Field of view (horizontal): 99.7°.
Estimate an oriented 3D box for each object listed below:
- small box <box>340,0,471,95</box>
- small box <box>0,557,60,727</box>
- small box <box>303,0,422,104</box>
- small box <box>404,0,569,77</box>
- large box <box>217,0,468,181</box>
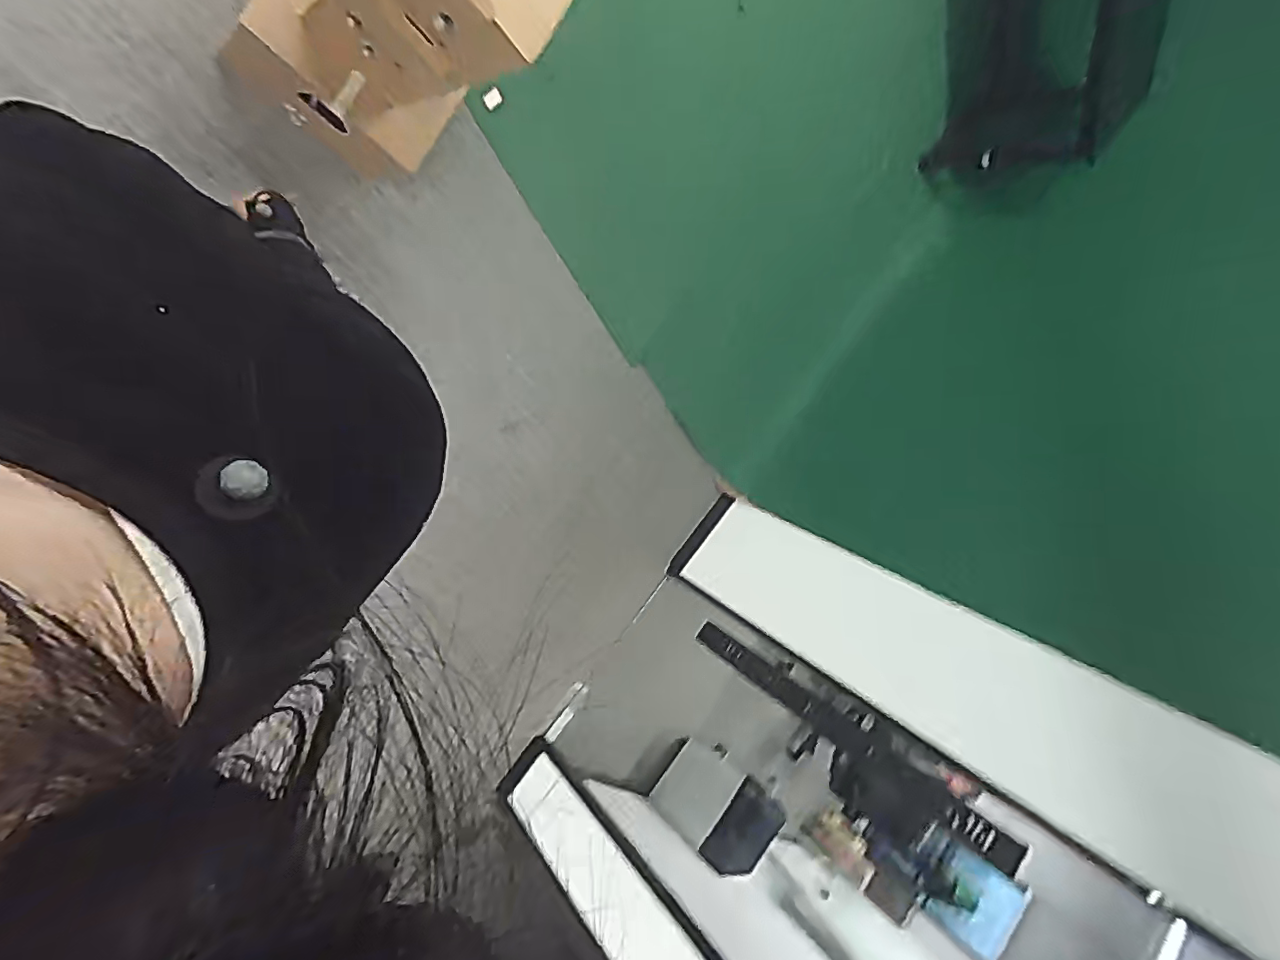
[{"bbox_3d":[-0.300,-0.690,0.765,0.168,0.176,0.179,32,87,-47],"label":"small box"},{"bbox_3d":[-0.876,0.213,0.673,0.168,0.176,0.179,-21,126,-35],"label":"small box"},{"bbox_3d":[-0.406,-0.751,0.873,0.179,0.176,0.168,34,86,-47],"label":"small box"},{"bbox_3d":[-0.191,-0.634,0.655,0.168,0.176,0.179,33,88,-47],"label":"small box"},{"bbox_3d":[-0.536,-0.867,1.050,0.320,0.320,0.408,33,85,-48],"label":"large box"}]
